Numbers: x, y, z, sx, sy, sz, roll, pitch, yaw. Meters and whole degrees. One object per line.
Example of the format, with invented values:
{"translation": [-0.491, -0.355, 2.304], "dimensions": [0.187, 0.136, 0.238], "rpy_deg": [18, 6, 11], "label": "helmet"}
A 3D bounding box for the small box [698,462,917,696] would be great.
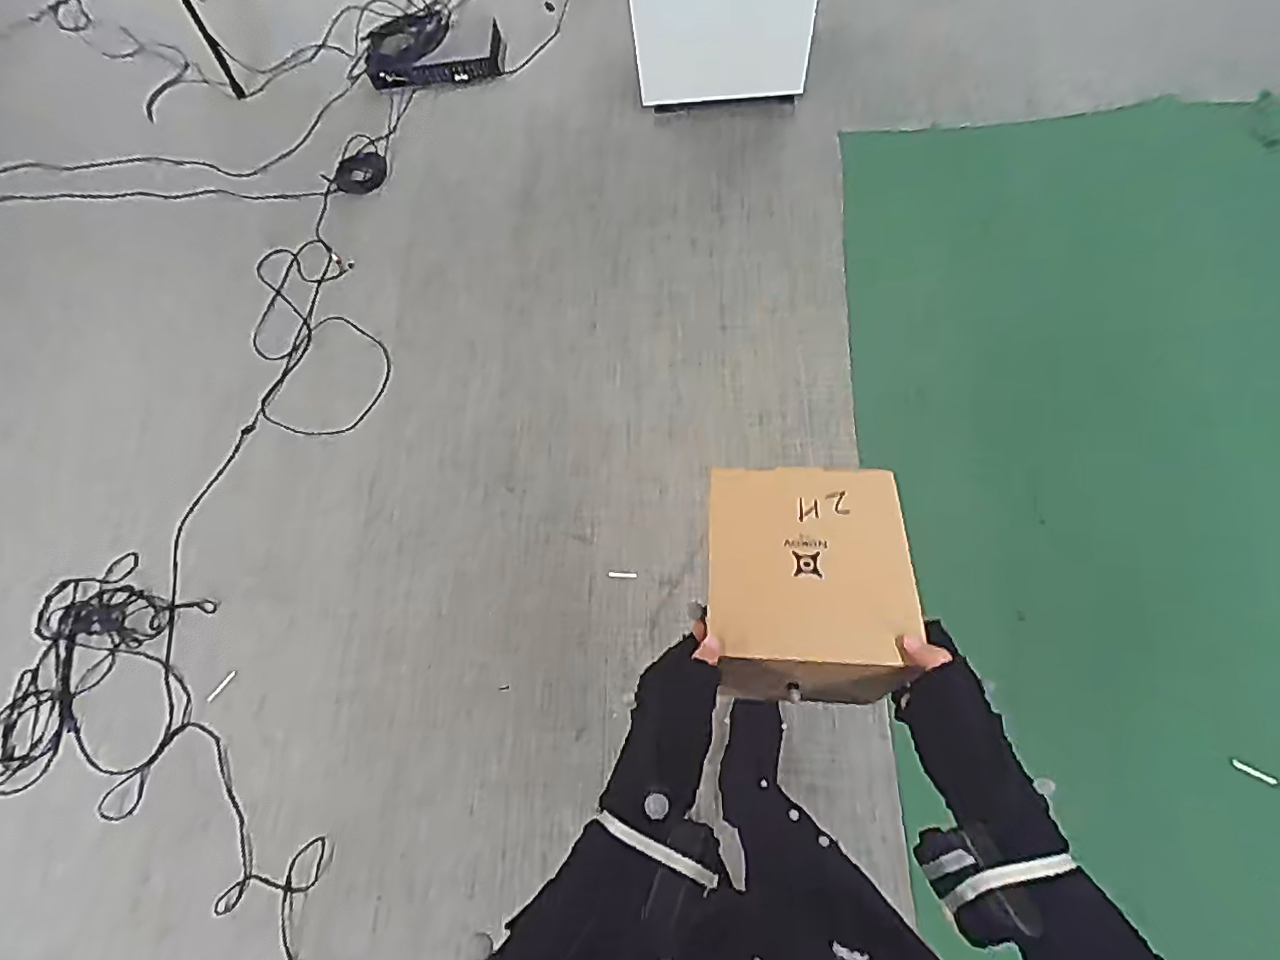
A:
{"translation": [0.142, 0.101, 0.523], "dimensions": [0.168, 0.176, 0.179], "rpy_deg": [2, 58, 6], "label": "small box"}
